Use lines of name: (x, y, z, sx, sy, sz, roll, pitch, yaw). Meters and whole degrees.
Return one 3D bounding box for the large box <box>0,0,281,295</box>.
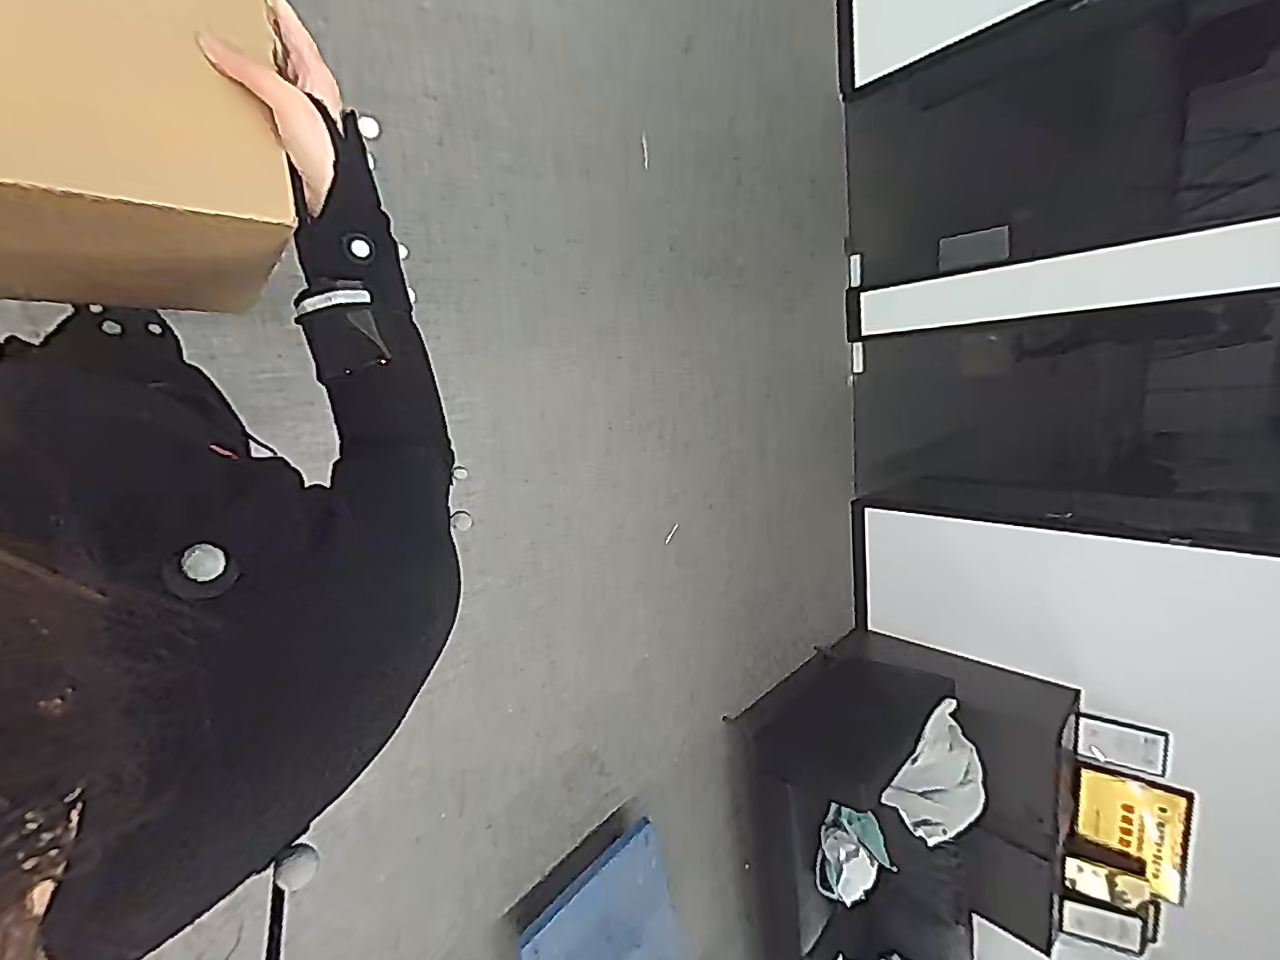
large box: (-0.516, -0.320, 0.361, 0.408, 0.320, 0.320, -10, 98, -39)
